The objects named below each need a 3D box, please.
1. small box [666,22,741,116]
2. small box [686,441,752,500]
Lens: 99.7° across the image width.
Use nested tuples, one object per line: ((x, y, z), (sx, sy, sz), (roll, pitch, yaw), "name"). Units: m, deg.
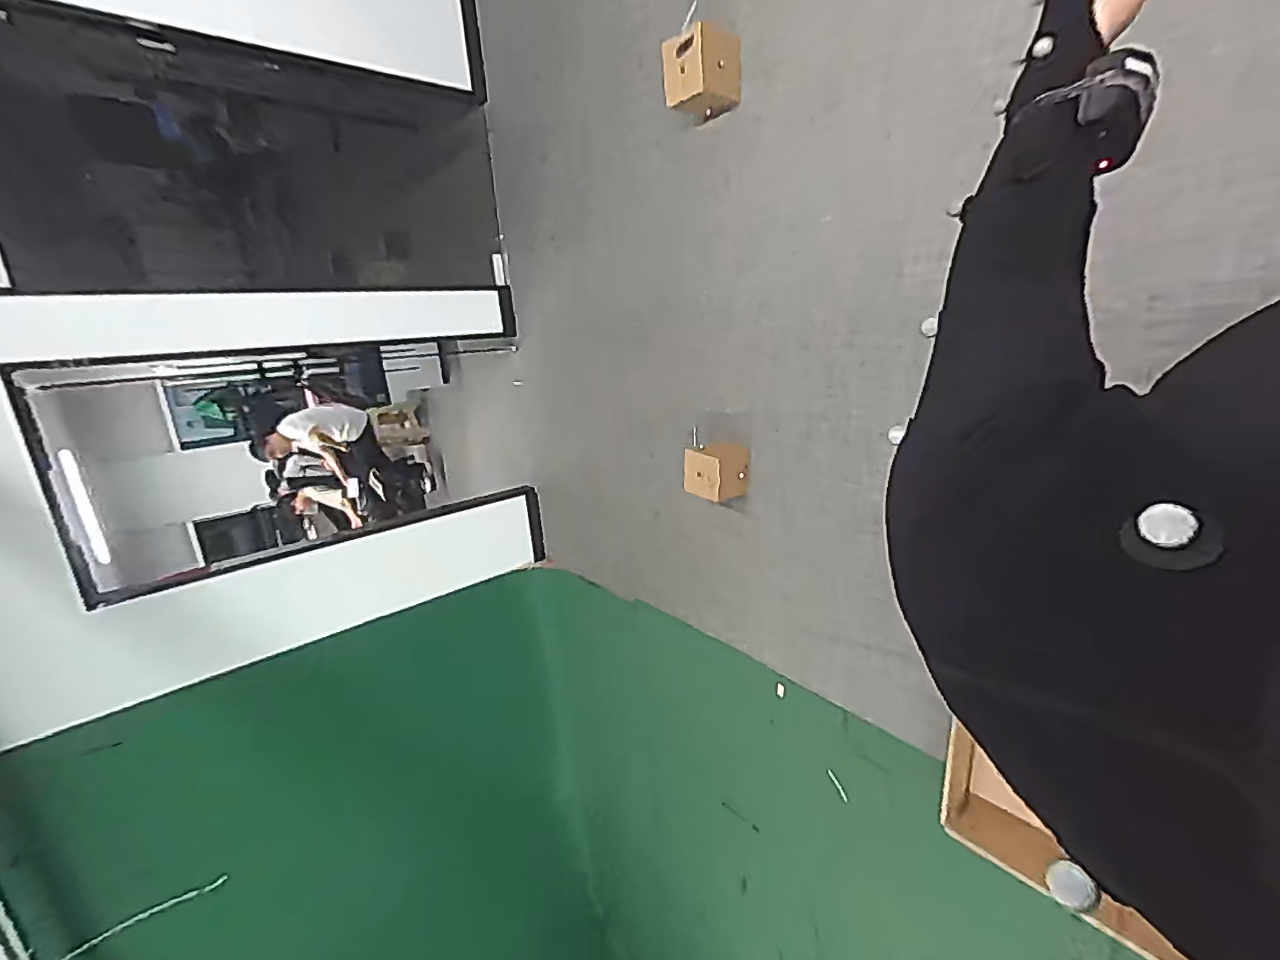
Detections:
((0.200, -1.267, 1.681), (0.168, 0.176, 0.179), (16, 116, 49), "small box")
((0.290, -0.042, 2.005), (0.179, 0.176, 0.168), (22, 120, 47), "small box")
